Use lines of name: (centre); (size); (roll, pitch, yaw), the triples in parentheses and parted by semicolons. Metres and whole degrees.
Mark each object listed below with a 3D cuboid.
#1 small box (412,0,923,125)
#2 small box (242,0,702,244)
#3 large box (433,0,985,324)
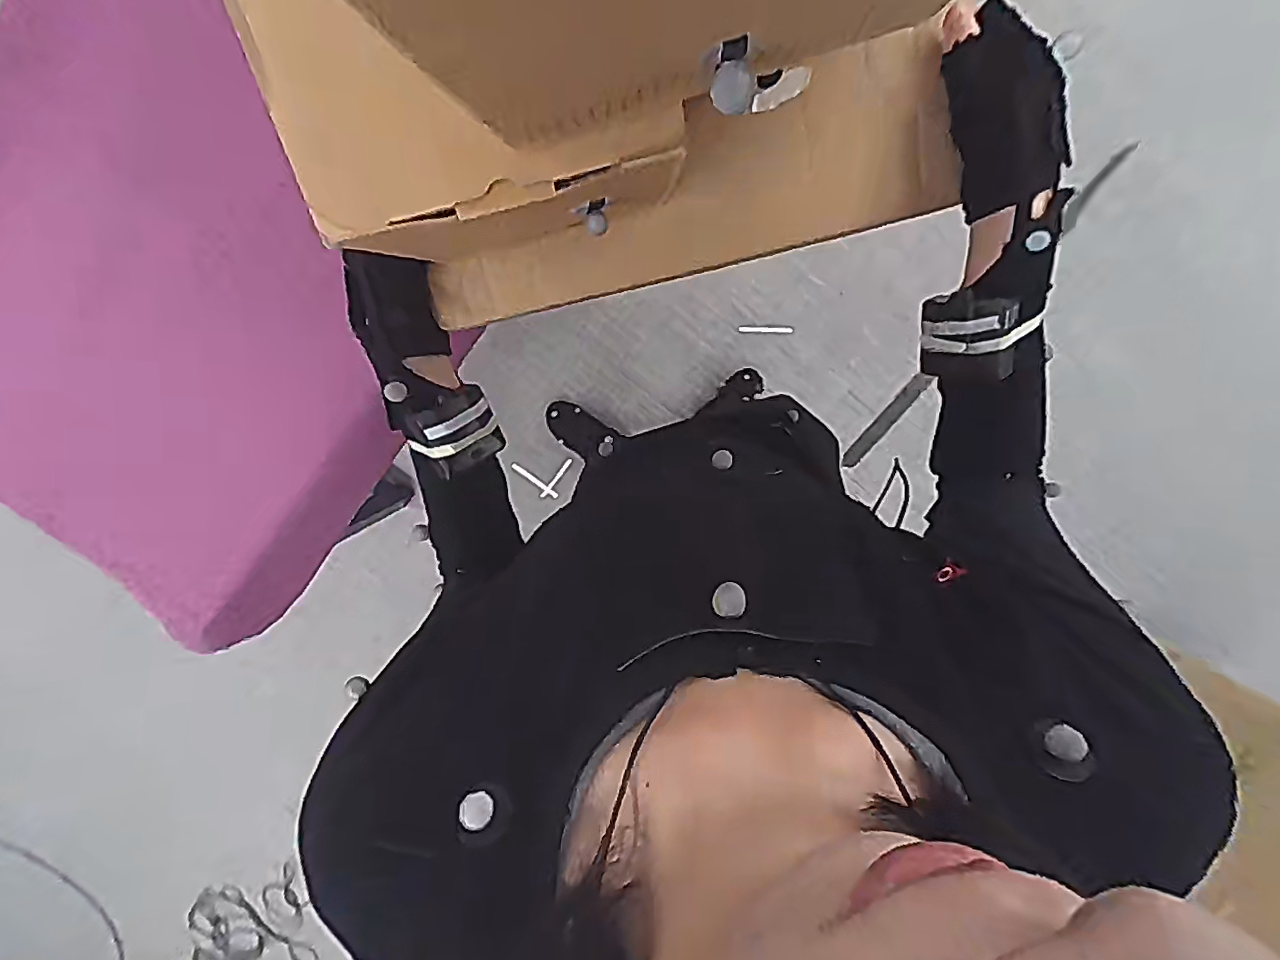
small box: (0.016, -0.203, 0.107); (0.179, 0.176, 0.168); (-14, 110, 5)
small box: (-0.072, -0.227, 0.271); (0.168, 0.176, 0.179); (-13, 109, 1)
large box: (0.013, -0.352, 0.487); (0.408, 0.320, 0.320); (-13, 111, 3)
